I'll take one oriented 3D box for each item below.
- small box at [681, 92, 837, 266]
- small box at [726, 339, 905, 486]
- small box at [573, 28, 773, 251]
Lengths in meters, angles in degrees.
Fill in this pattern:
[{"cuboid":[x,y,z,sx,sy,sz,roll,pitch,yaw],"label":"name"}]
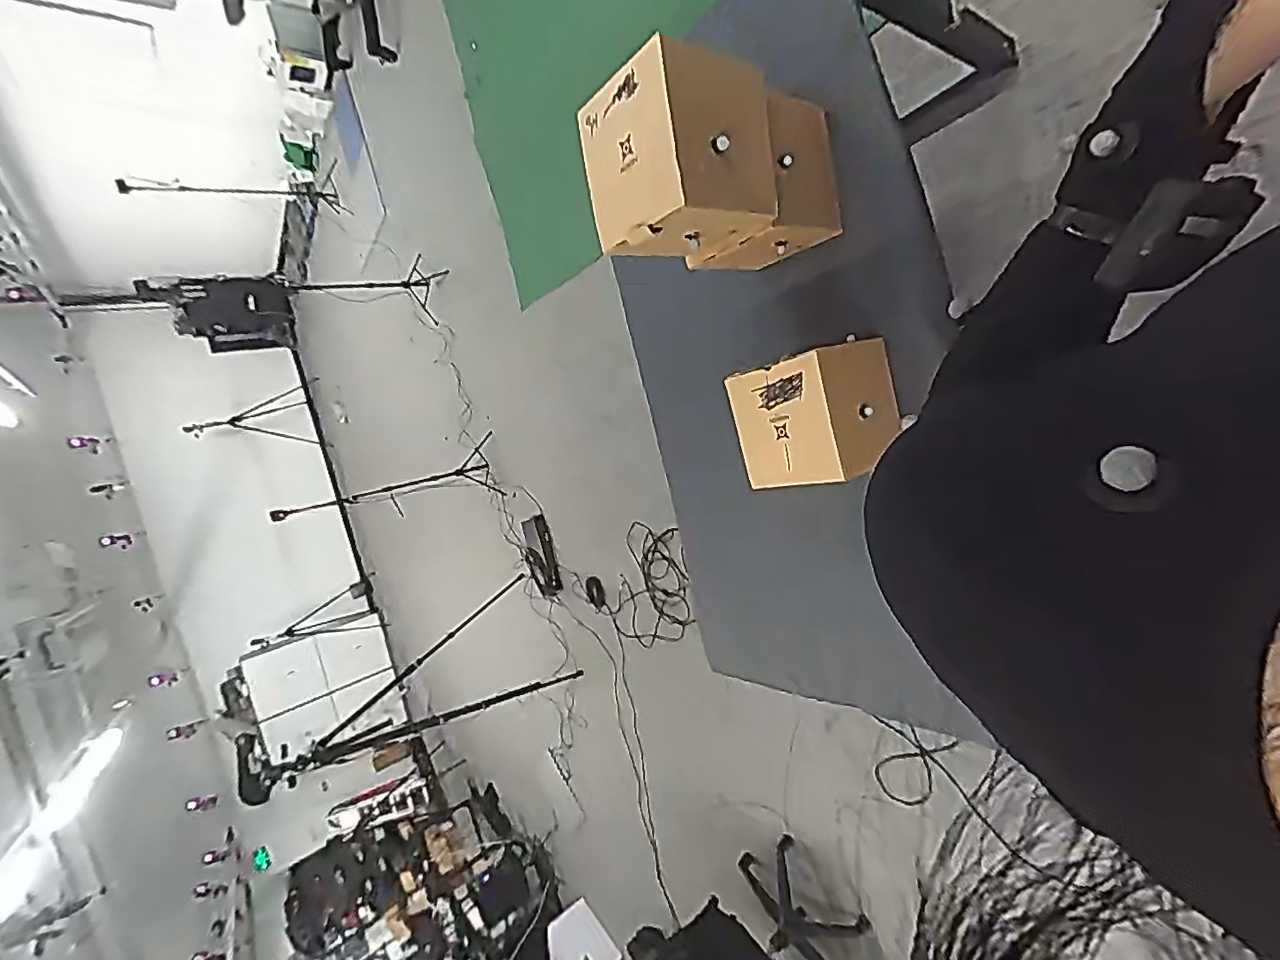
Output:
[{"cuboid":[0.162,-0.425,0.780,0.168,0.176,0.179,-3,101,52],"label":"small box"},{"cuboid":[0.257,-0.099,0.790,0.168,0.176,0.179,-7,100,54],"label":"small box"},{"cuboid":[0.045,-0.398,0.667,0.168,0.176,0.179,1,106,51],"label":"small box"}]
